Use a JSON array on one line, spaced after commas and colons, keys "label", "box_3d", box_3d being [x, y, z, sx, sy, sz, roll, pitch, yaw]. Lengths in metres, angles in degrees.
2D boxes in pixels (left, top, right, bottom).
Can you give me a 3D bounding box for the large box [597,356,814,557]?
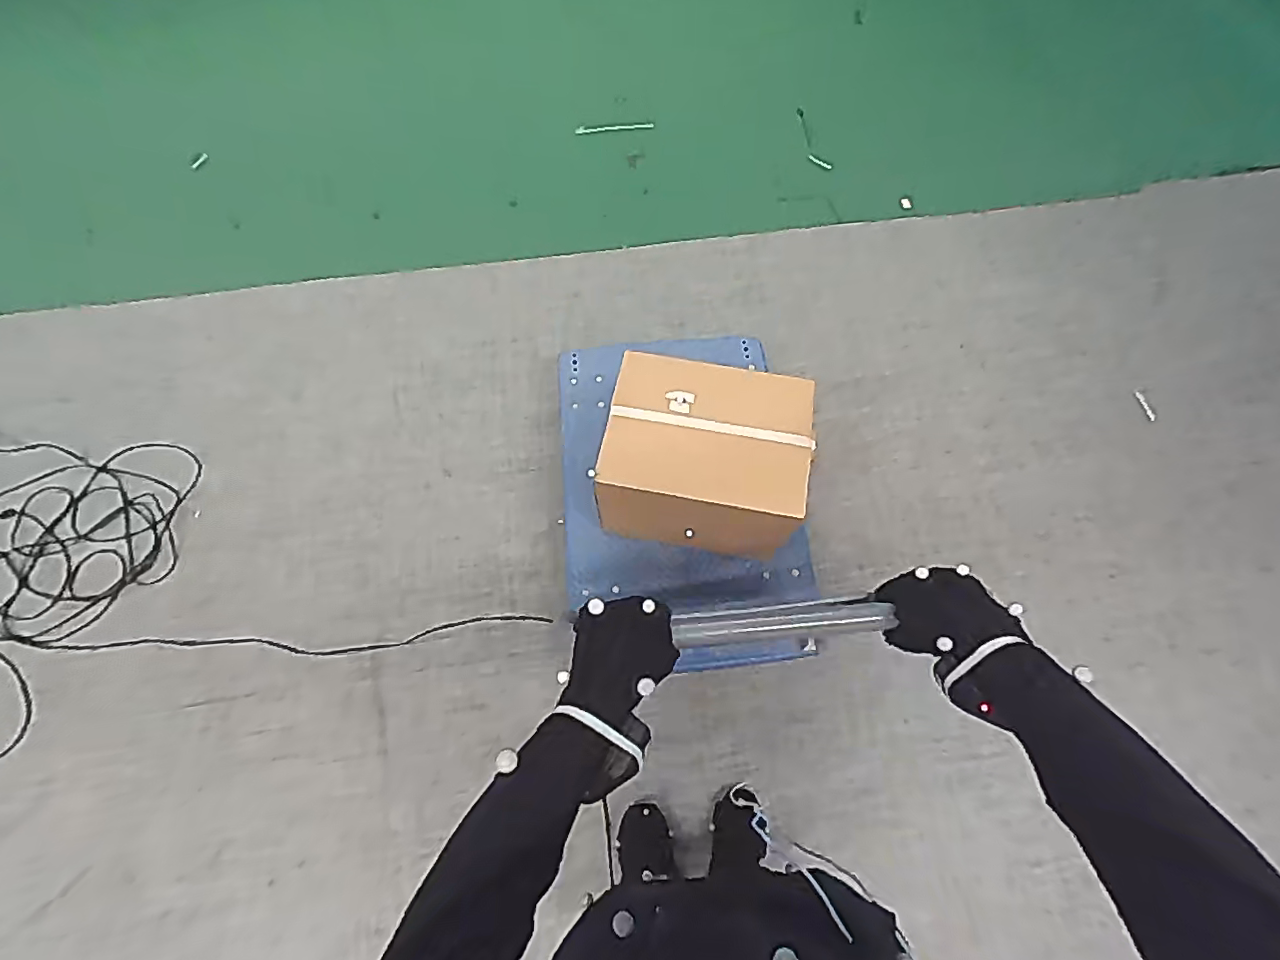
[{"label": "large box", "box_3d": [0.143, -0.038, 1.205, 0.408, 0.320, 0.320, 9, 67, 5]}]
